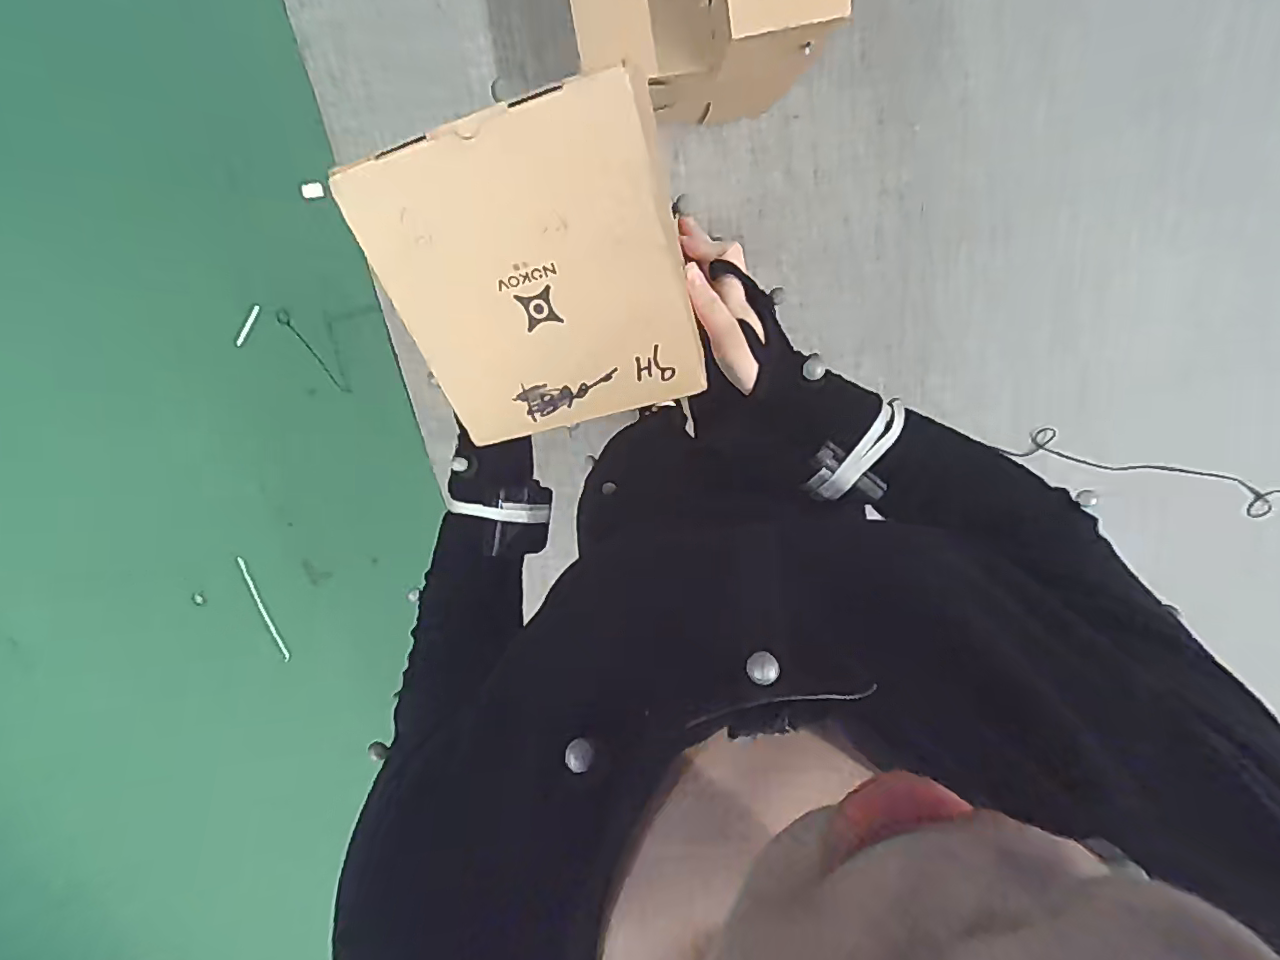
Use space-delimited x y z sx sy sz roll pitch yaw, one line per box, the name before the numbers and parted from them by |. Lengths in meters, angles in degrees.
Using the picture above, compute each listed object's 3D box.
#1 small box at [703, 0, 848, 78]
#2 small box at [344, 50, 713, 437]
small box | 0.196 -0.748 0.820 0.179 0.176 0.168 -10 109 2
small box | -0.052 -0.159 0.376 0.168 0.176 0.179 -12 124 11
